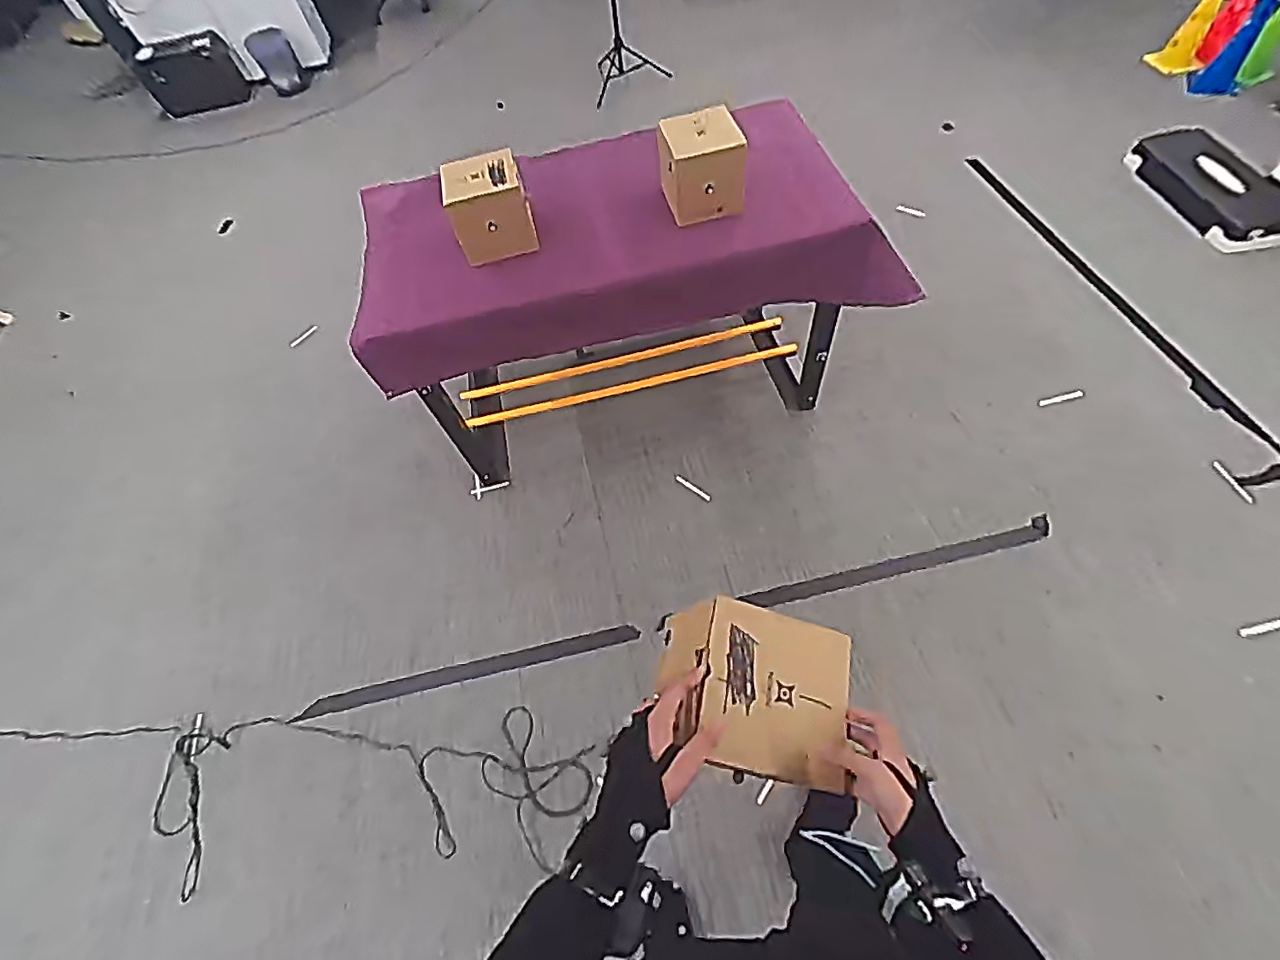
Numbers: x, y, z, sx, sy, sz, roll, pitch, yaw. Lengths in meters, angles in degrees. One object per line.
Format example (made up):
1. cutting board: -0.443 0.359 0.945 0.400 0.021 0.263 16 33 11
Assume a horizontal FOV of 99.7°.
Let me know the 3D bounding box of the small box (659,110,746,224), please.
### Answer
1. small box: 0.148 -0.741 1.298 0.168 0.176 0.179 -14 59 -1

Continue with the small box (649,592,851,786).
1. small box: 0.125 0.252 0.651 0.179 0.176 0.168 19 63 -10
